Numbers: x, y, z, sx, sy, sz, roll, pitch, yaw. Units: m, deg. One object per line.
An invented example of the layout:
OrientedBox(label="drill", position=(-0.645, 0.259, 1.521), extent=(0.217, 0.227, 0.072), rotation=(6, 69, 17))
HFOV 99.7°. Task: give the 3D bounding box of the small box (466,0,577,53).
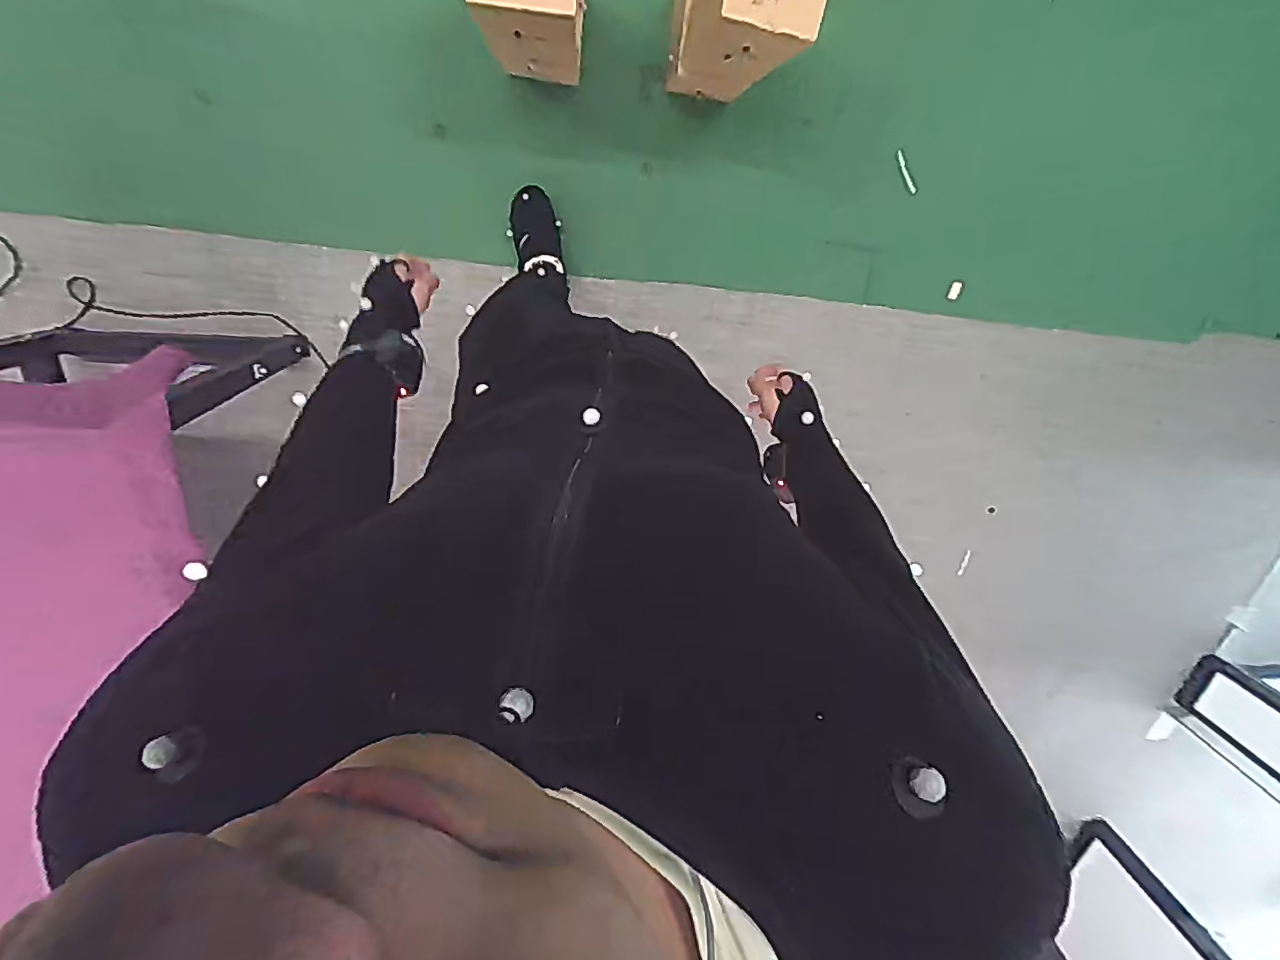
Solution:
OrientedBox(label="small box", position=(-0.181, -0.813, 0.850), extent=(0.168, 0.176, 0.179), rotation=(2, 115, -7))

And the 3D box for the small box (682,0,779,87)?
OrientedBox(label="small box", position=(0.188, -0.898, 1.043), extent=(0.168, 0.176, 0.179), rotation=(6, 114, -11))

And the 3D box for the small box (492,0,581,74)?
OrientedBox(label="small box", position=(-0.194, -0.884, 0.996), extent=(0.168, 0.176, 0.179), rotation=(1, 116, -8))

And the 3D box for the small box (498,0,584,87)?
OrientedBox(label="small box", position=(-0.206, -0.959, 1.142), extent=(0.168, 0.176, 0.179), rotation=(4, 114, -9))

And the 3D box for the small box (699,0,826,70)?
OrientedBox(label="small box", position=(0.207, -0.823, 0.897), extent=(0.168, 0.176, 0.179), rotation=(6, 115, -11))
